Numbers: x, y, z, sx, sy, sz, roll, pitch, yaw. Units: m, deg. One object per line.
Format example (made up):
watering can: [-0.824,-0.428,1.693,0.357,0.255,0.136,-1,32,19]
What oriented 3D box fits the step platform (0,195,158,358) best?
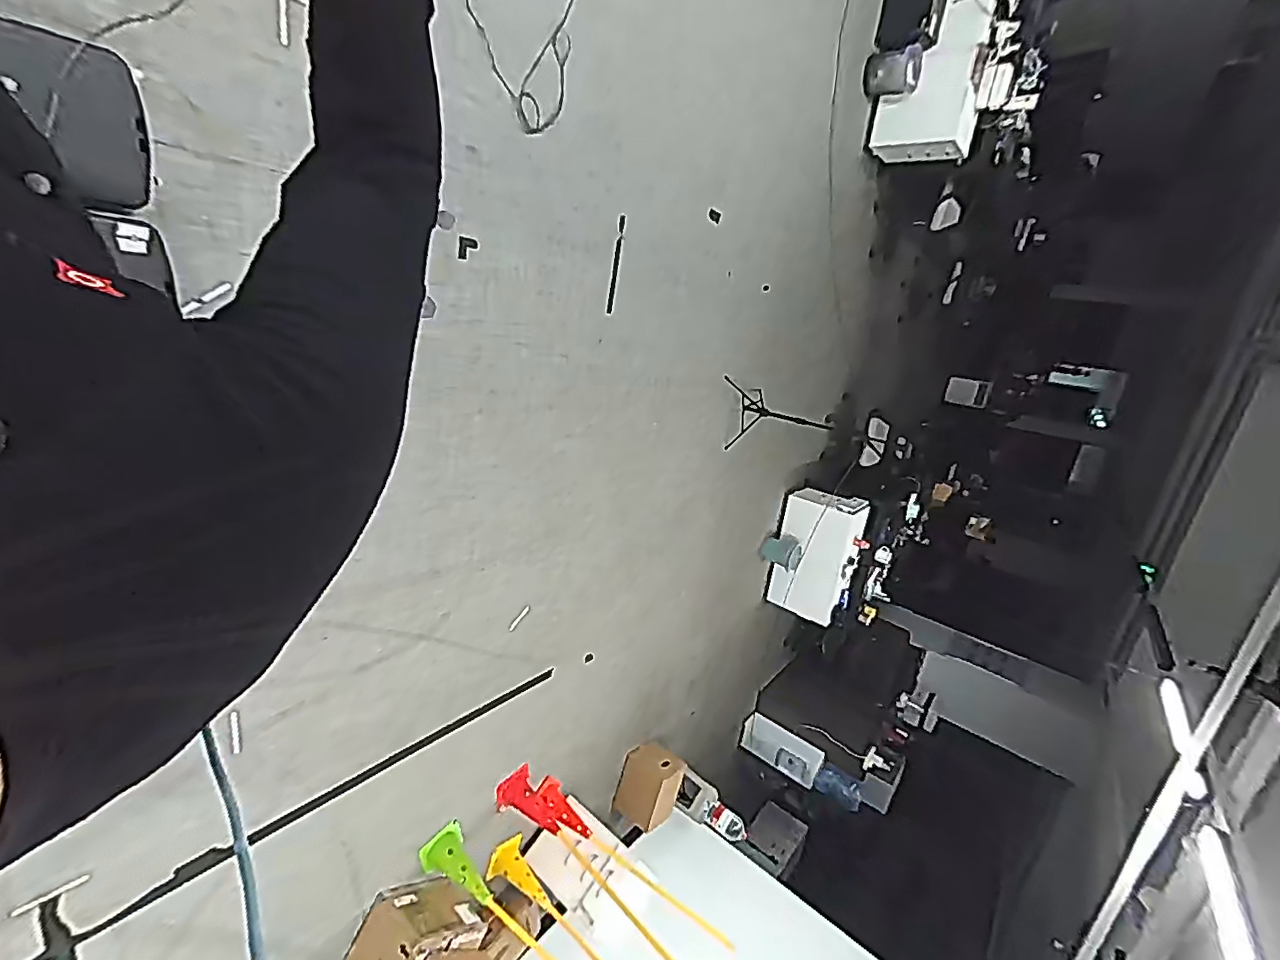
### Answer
step platform: [-1.266,-0.354,0.906,0.684,0.204,0.286,-15,118,-48]
